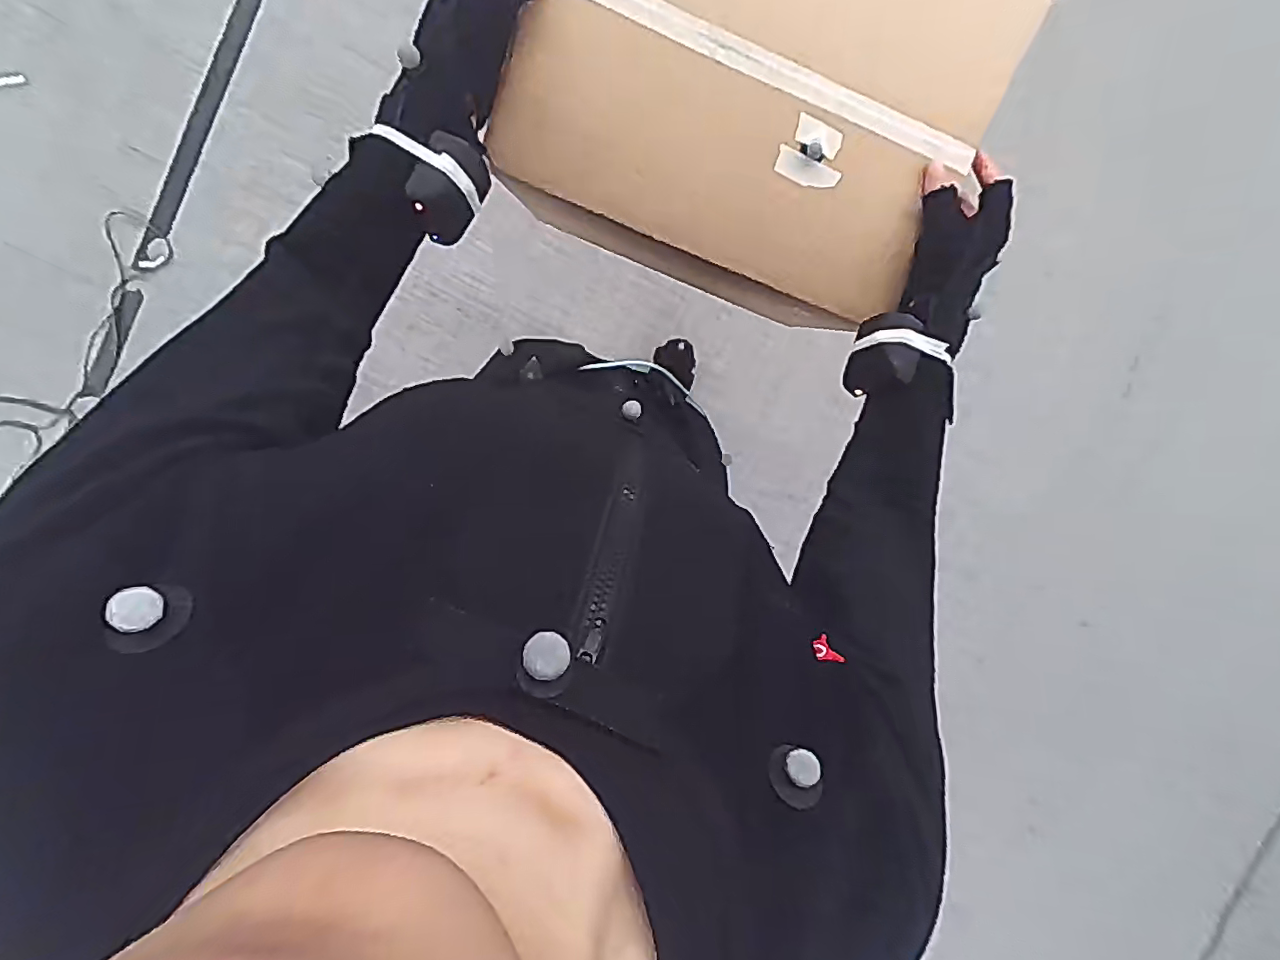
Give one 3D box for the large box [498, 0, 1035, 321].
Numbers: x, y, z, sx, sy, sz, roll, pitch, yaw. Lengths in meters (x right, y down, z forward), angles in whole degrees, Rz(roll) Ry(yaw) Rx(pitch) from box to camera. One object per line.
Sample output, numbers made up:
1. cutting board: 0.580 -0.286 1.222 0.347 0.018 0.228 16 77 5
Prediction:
1. large box: 0.099 -0.399 0.611 0.408 0.320 0.320 19 107 -8
